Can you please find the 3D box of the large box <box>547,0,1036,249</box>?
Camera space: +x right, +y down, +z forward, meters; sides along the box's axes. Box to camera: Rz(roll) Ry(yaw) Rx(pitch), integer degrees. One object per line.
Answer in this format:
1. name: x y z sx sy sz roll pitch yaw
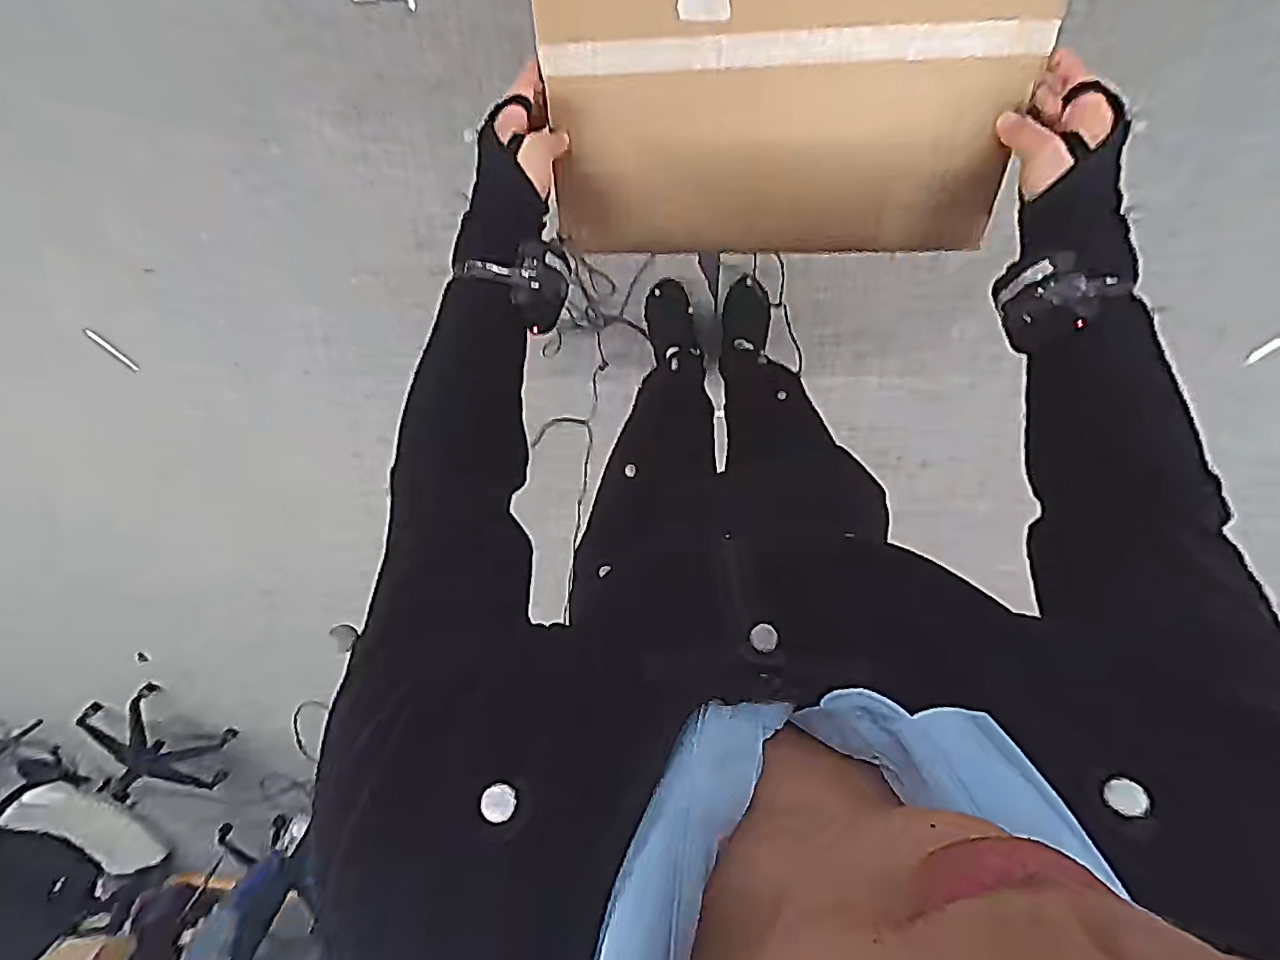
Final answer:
1. large box: 0.135 -0.453 0.583 0.408 0.320 0.320 2 126 6
